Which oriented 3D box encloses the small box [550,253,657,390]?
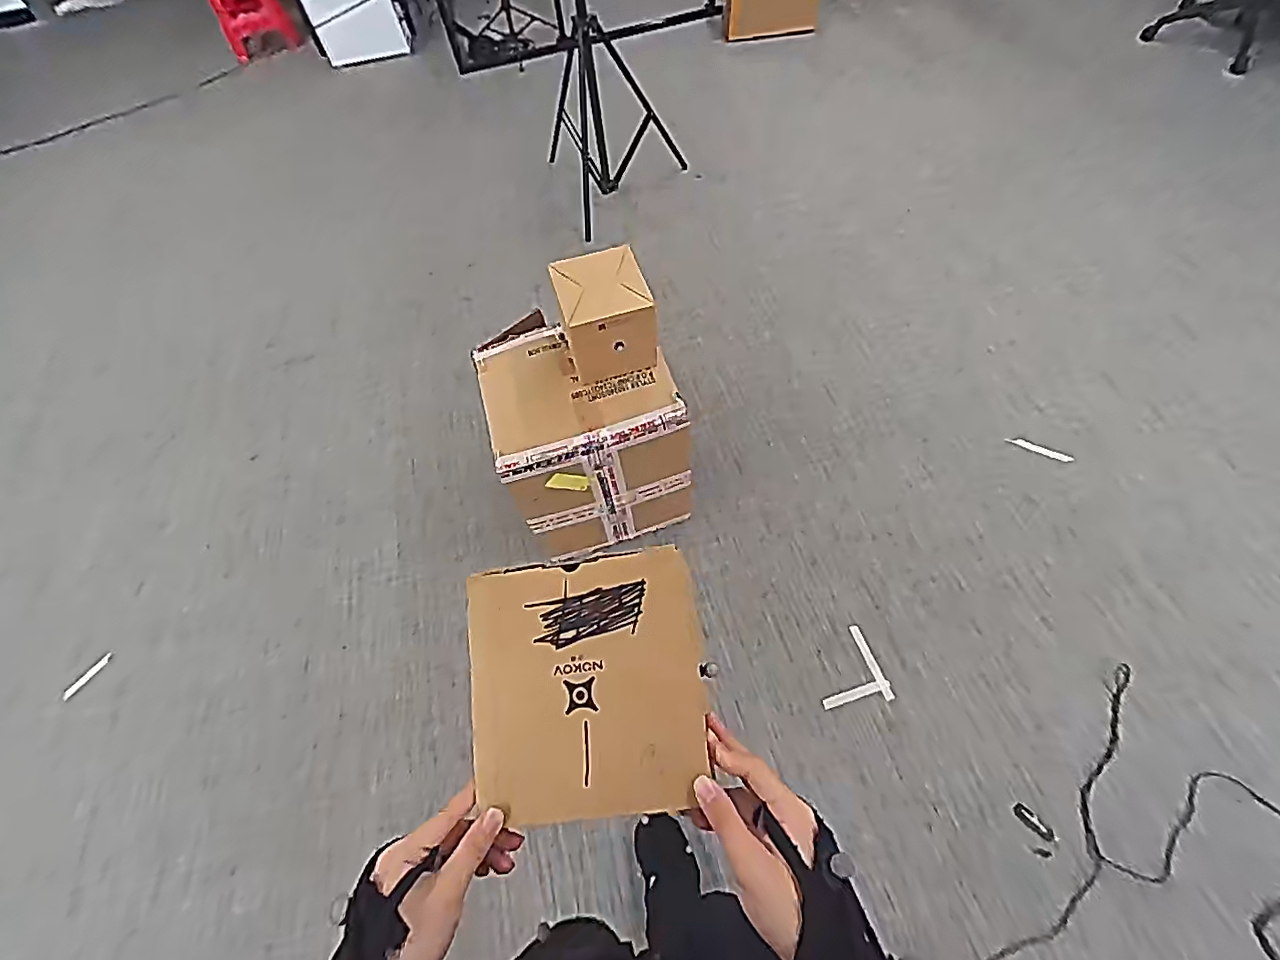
[{"bbox_3d":[-0.073,-0.316,1.079,0.168,0.176,0.179,-16,62,-7],"label":"small box"}]

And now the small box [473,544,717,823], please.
[{"bbox_3d":[-0.030,0.162,0.463,0.168,0.176,0.179,-9,74,5],"label":"small box"}]
